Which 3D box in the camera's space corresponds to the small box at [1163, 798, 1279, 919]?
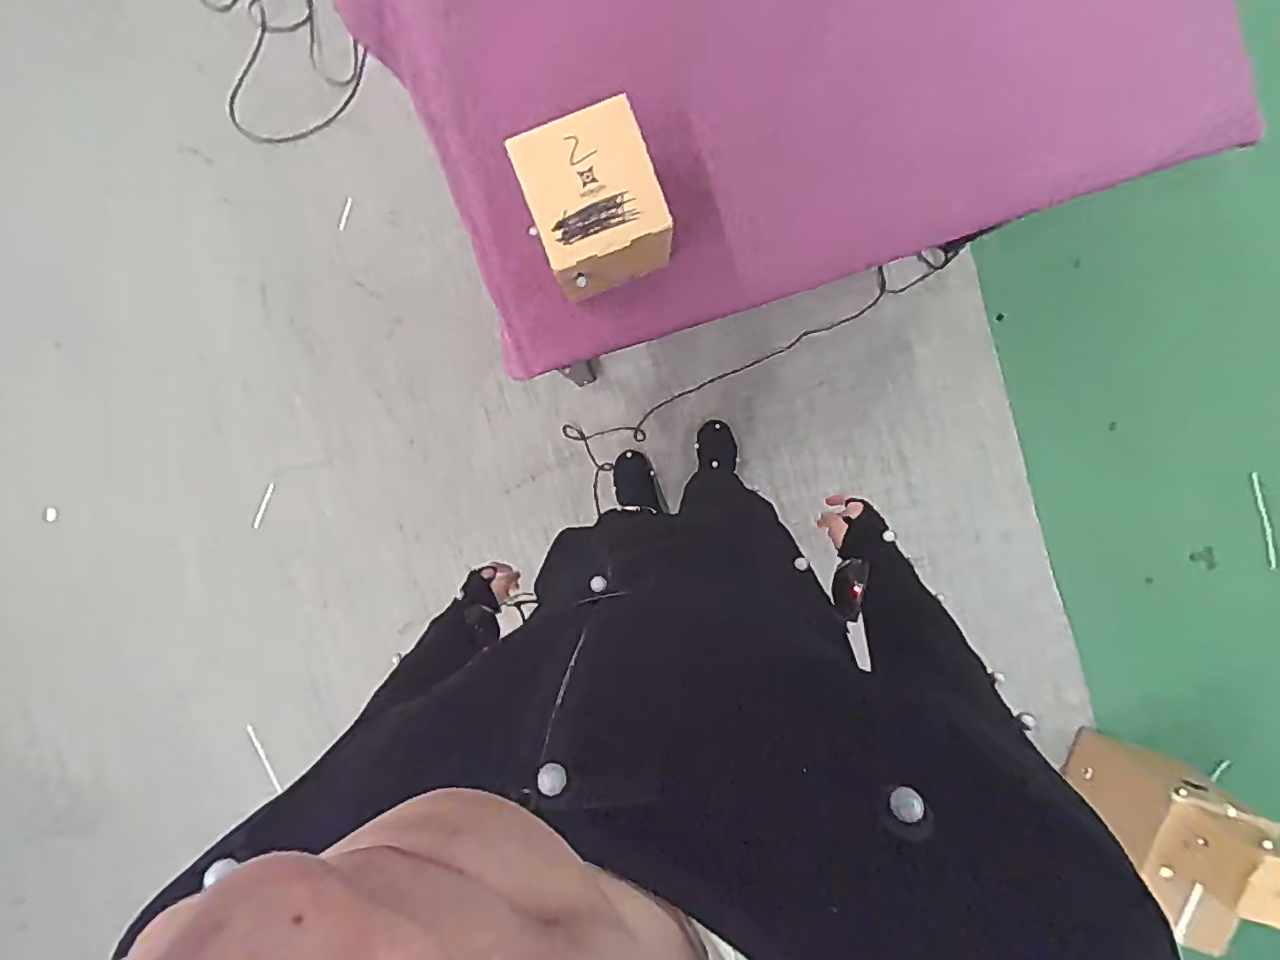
[{"bbox_3d":[1.493,0.938,1.352,0.179,0.176,0.168,18,97,-1],"label":"small box"}]
